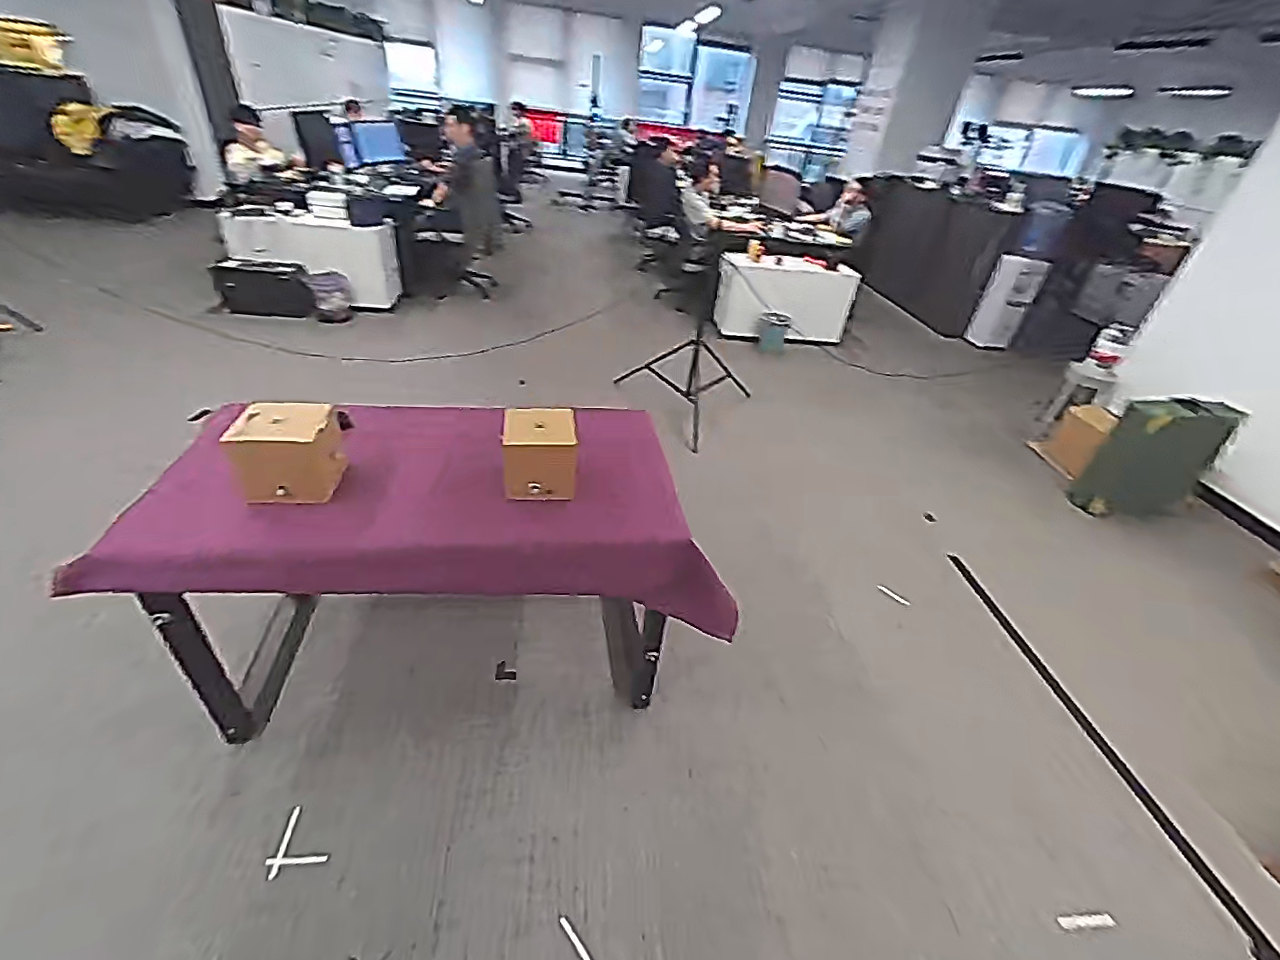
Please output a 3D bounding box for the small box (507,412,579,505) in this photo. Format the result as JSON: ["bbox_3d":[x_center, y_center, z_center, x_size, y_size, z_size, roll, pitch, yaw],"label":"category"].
[{"bbox_3d":[-0.244,-0.055,1.354,0.168,0.176,0.179,-2,36,-10],"label":"small box"}]

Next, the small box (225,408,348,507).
[{"bbox_3d":[-0.795,-0.050,1.241,0.179,0.176,0.168,1,35,-11],"label":"small box"}]
